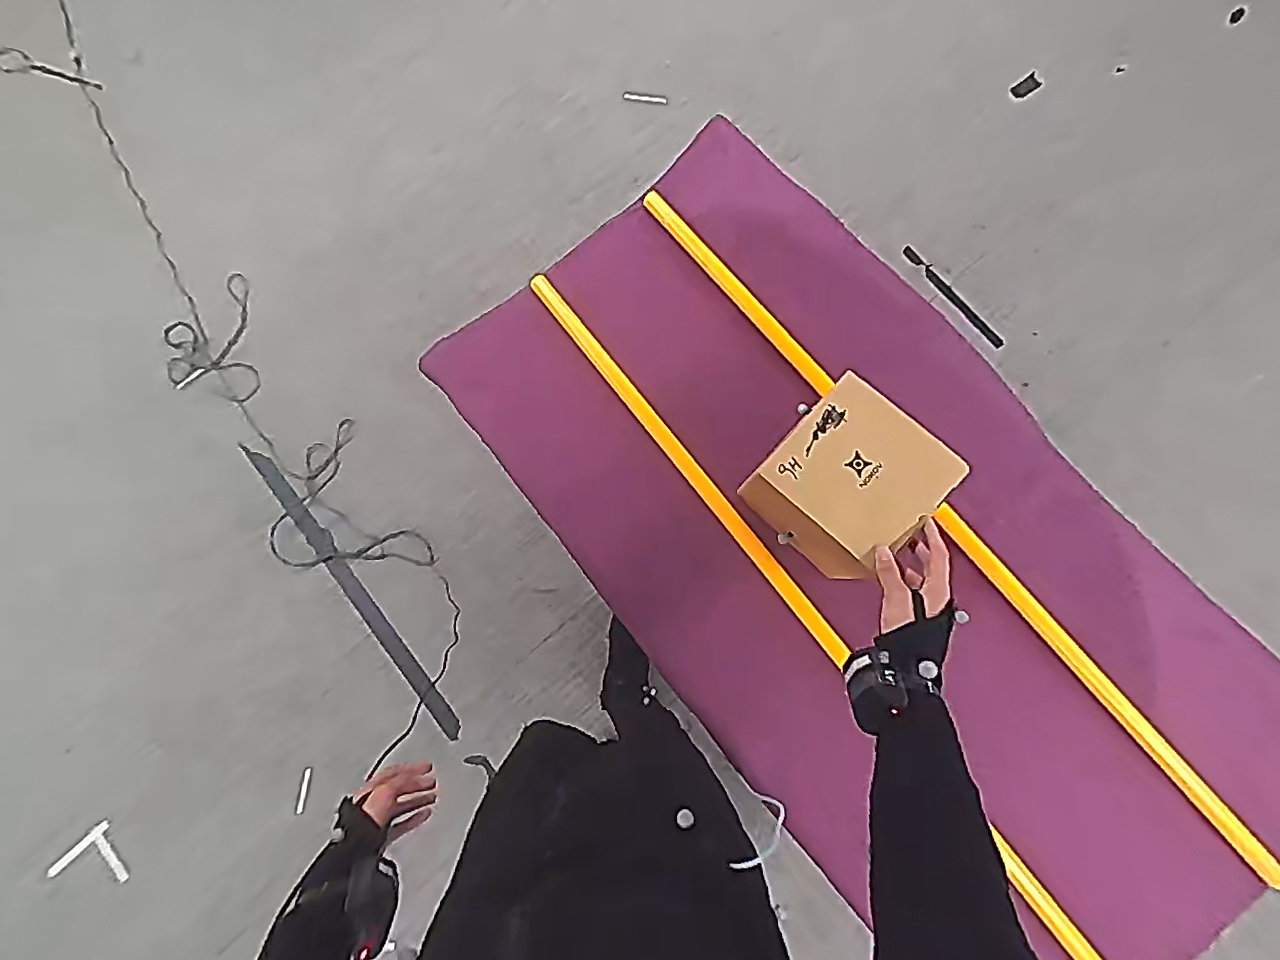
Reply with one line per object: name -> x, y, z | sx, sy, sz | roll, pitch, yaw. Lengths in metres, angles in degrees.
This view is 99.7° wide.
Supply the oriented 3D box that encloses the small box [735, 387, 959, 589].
small box -> 0.246, 0.016, 0.689 | 0.179, 0.176, 0.168 | 43, 84, 7
